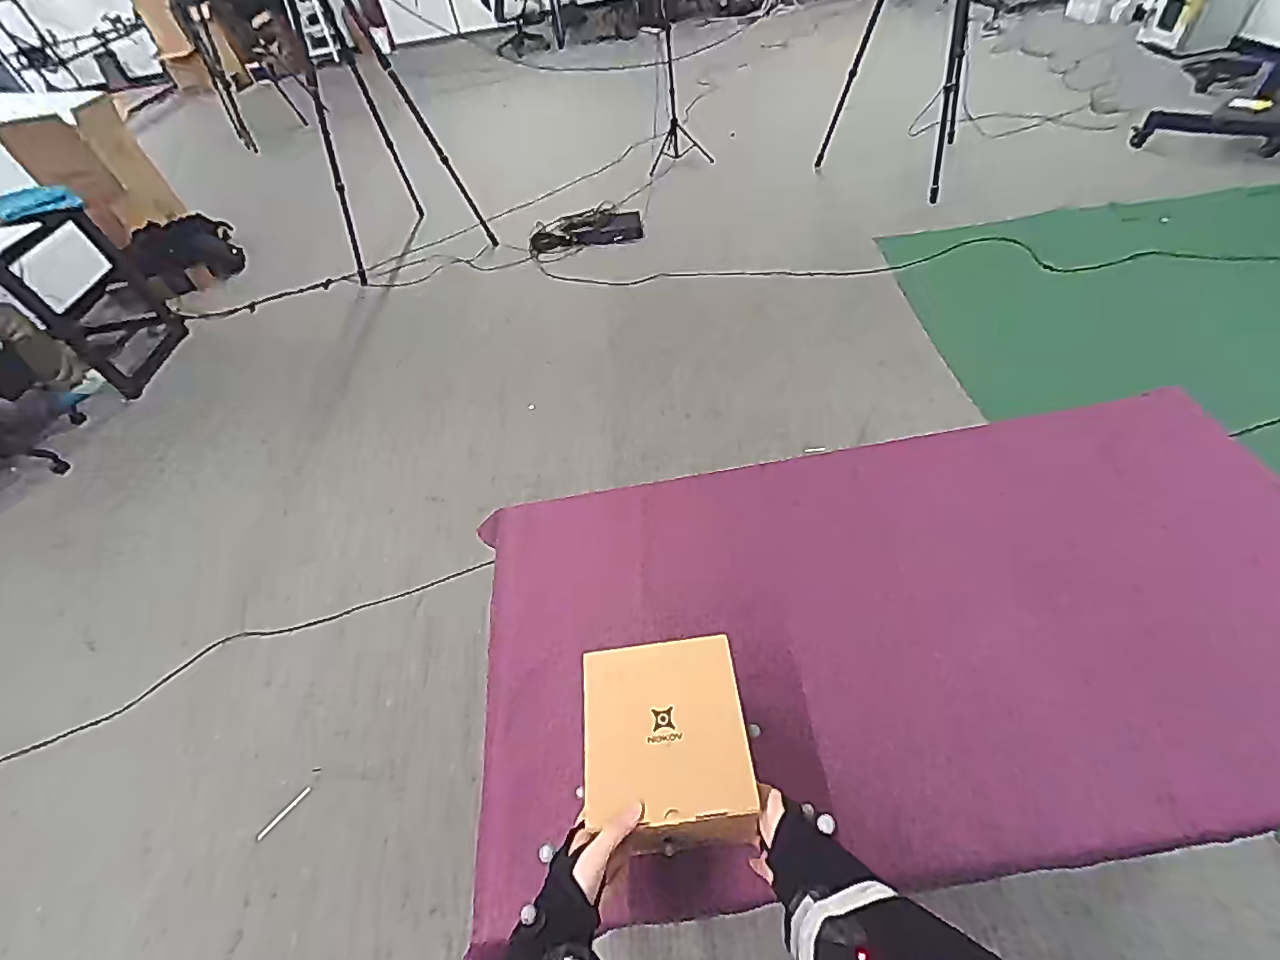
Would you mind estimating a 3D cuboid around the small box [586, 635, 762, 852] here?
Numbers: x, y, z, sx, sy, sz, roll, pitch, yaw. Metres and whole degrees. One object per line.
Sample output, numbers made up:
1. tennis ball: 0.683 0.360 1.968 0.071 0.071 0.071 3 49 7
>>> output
1. small box: 0.034 0.301 0.614 0.168 0.176 0.179 -9 50 2
